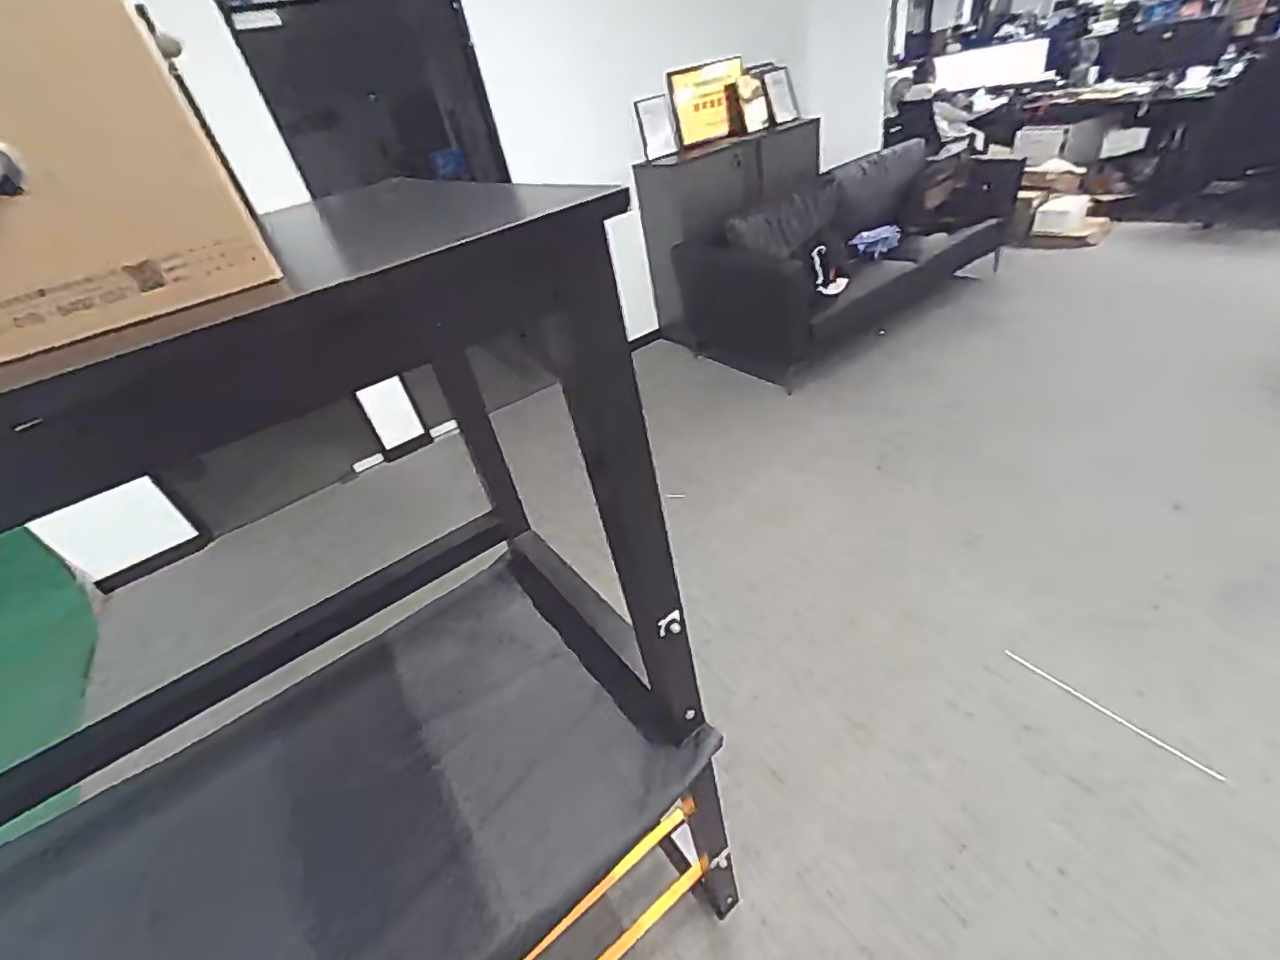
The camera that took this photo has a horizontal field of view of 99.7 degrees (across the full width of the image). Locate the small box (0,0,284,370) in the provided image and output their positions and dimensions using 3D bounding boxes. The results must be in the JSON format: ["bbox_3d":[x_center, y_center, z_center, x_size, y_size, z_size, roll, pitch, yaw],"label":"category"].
[{"bbox_3d":[-0.341,-0.181,0.318,0.168,0.176,0.179,-29,39,-22],"label":"small box"}]
